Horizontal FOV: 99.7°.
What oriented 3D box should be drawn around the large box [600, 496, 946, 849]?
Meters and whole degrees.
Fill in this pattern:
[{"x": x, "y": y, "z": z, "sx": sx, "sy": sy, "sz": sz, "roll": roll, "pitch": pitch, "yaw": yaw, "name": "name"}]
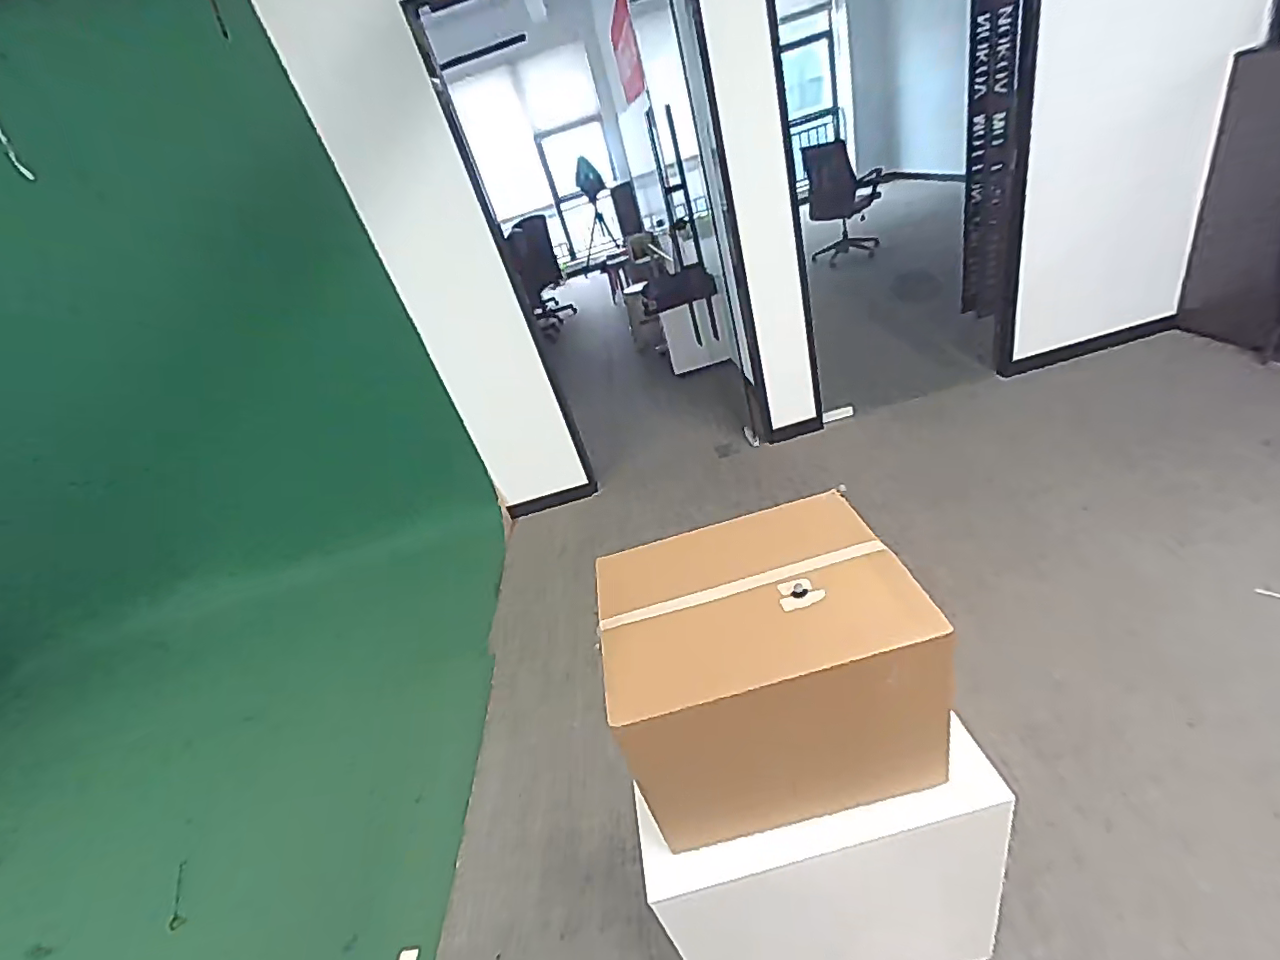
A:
[{"x": 0.179, "y": 0.276, "z": 0.819, "sx": 0.408, "sy": 0.320, "sz": 0.320, "roll": -16, "pitch": 31, "yaw": 1, "name": "large box"}]
